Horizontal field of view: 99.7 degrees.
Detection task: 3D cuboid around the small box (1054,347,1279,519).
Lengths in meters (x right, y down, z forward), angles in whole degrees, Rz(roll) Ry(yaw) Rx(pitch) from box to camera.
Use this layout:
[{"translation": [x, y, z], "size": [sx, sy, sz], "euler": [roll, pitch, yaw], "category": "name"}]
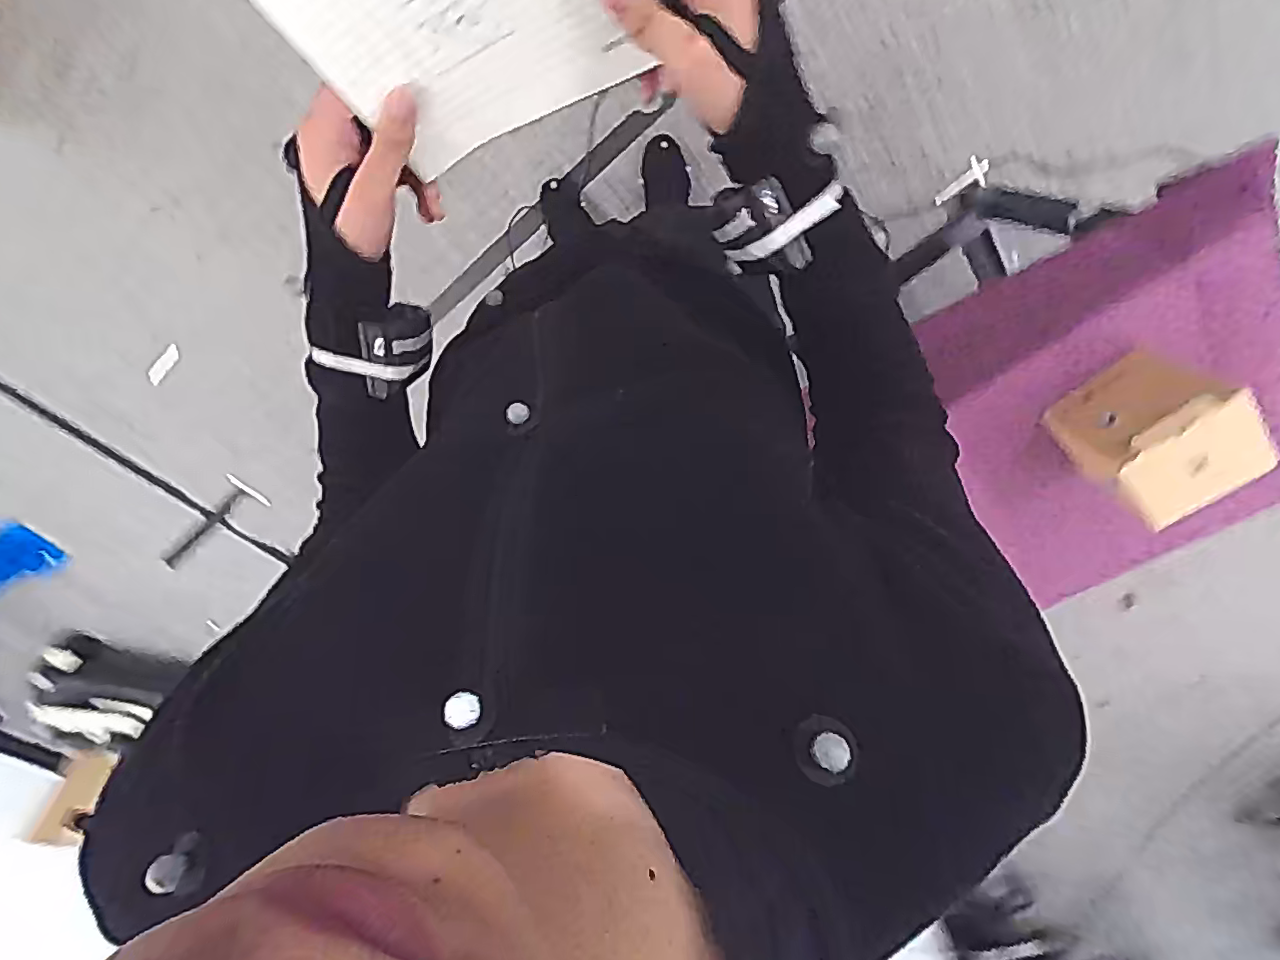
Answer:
[{"translation": [0.789, -0.080, 0.825], "size": [0.179, 0.176, 0.168], "euler": [37, 117, -24], "category": "small box"}]
